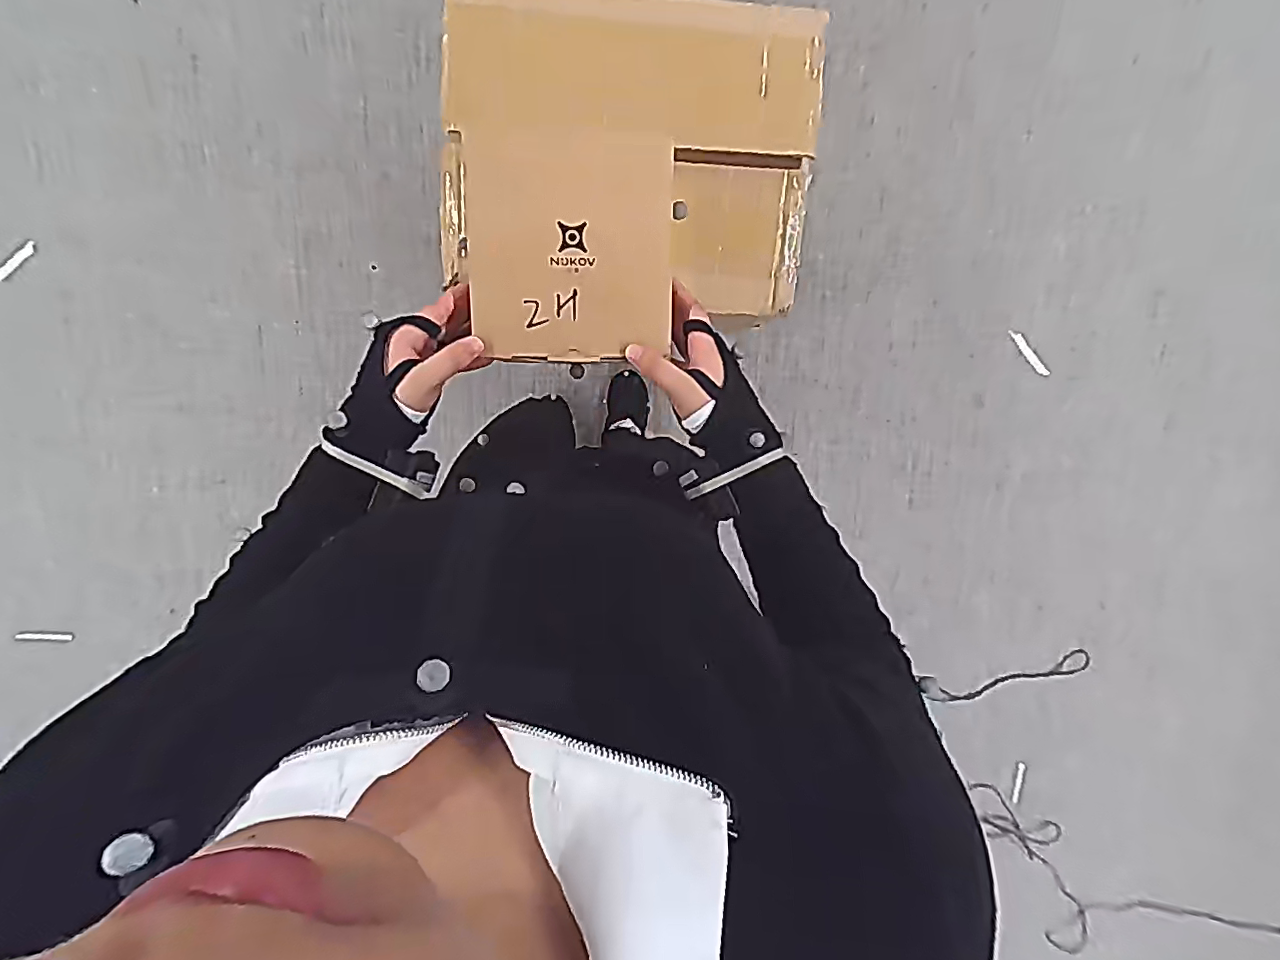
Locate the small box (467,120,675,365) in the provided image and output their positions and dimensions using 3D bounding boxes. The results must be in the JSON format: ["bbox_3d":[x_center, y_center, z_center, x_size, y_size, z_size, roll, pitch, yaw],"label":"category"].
[{"bbox_3d":[-0.062,-0.204,0.514,0.168,0.176,0.179,0,100,-4],"label":"small box"}]
